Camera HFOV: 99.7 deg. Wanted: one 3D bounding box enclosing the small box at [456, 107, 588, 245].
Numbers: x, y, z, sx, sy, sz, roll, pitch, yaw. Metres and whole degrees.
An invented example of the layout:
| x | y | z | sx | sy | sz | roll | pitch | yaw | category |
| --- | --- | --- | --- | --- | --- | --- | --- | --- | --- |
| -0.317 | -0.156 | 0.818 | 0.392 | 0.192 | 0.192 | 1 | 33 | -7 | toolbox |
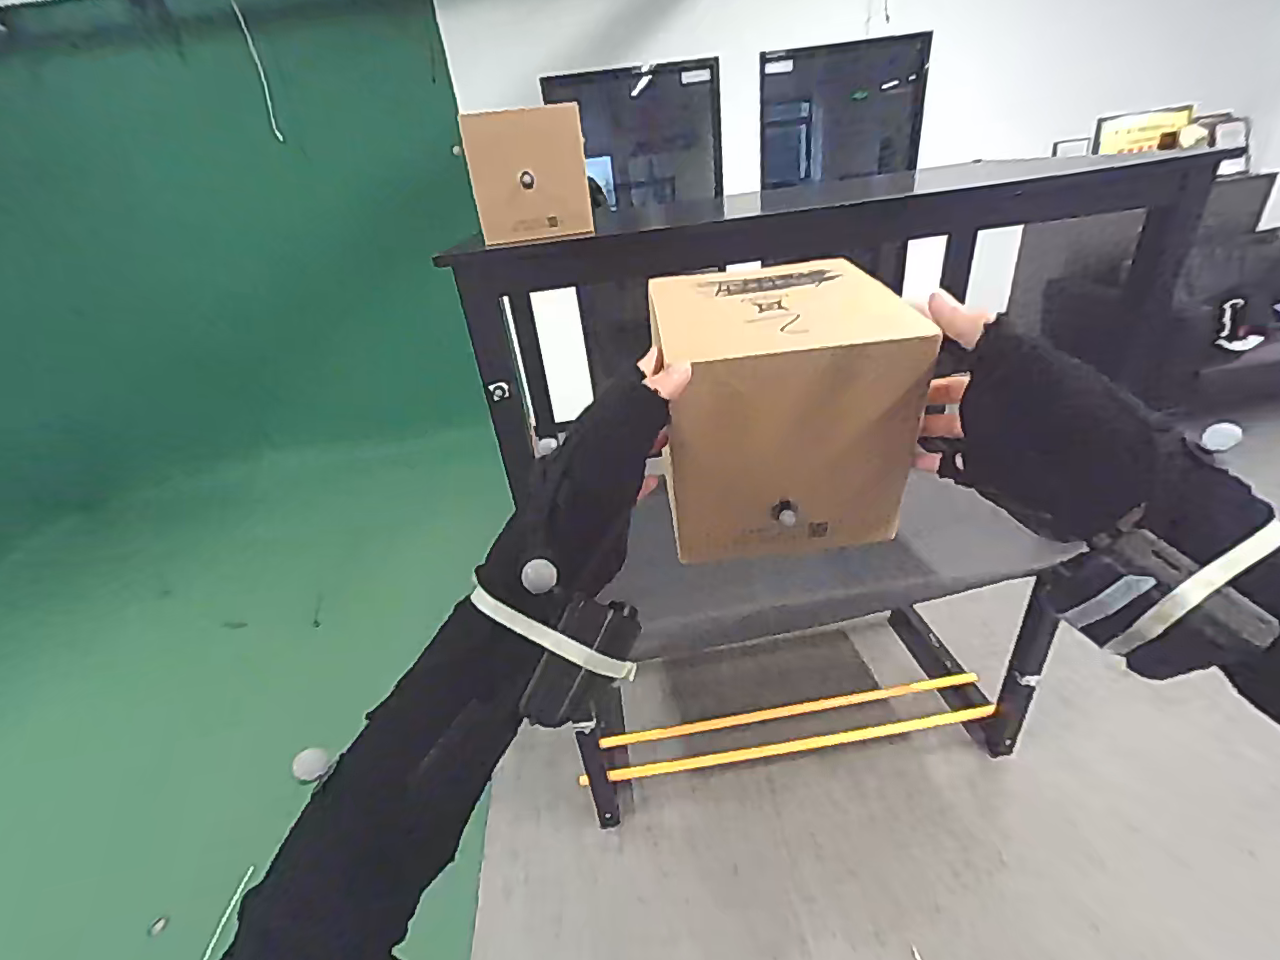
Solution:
| x | y | z | sx | sy | sz | roll | pitch | yaw | category |
| --- | --- | --- | --- | --- | --- | --- | --- | --- | --- |
| -0.184 | -0.477 | 0.866 | 0.168 | 0.176 | 0.179 | -11 | 29 | -9 | small box |
